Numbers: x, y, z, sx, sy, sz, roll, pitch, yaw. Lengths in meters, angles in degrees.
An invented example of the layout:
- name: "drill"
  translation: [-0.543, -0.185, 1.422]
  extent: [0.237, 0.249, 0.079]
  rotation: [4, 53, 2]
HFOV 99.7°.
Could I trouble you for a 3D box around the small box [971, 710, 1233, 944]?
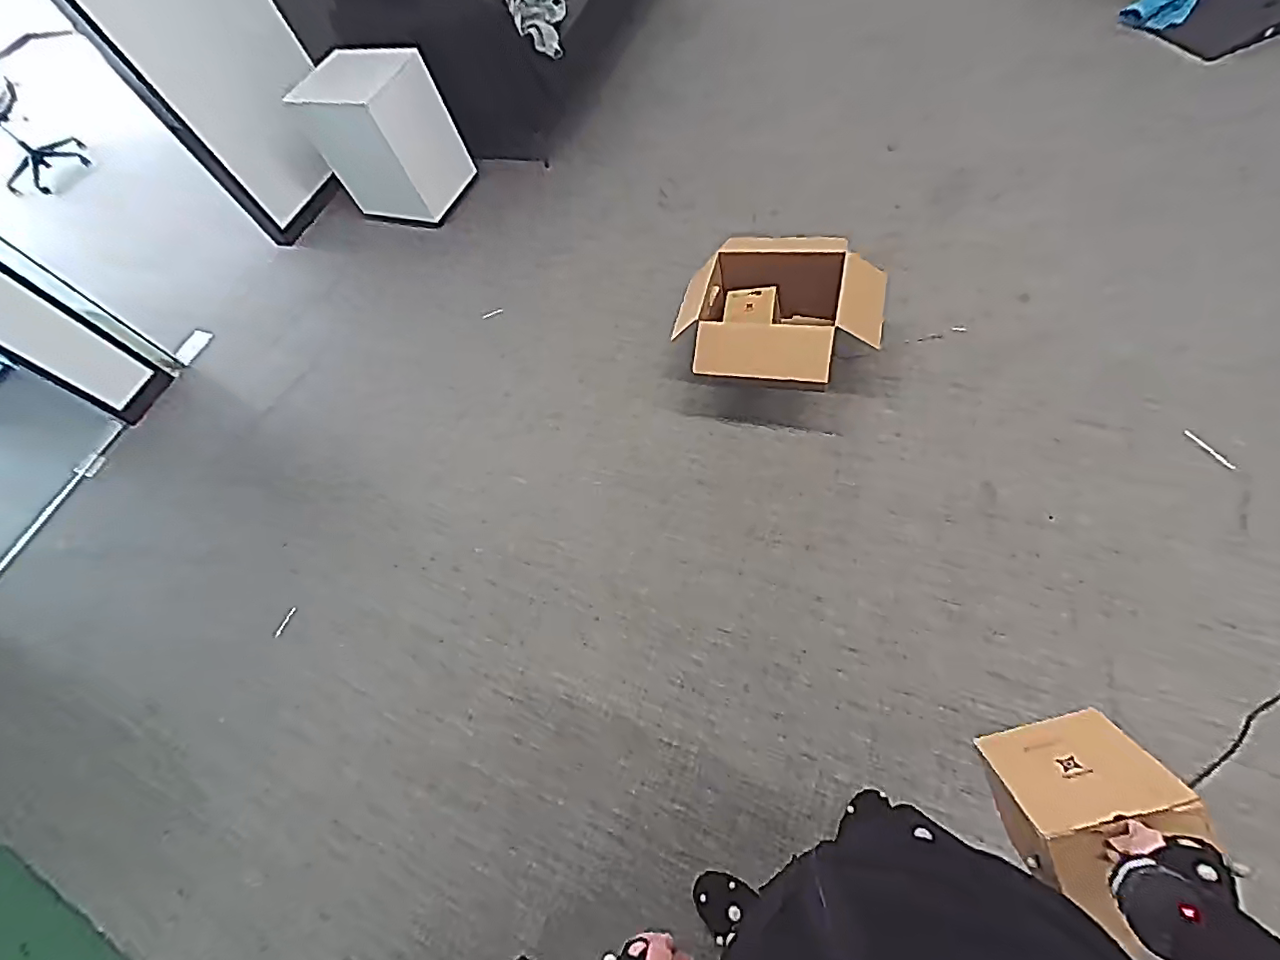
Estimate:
- name: "small box"
  translation: [0.557, 0.426, 0.670]
  extent: [0.168, 0.179, 0.176]
  rotation: [-20, 94, 10]
